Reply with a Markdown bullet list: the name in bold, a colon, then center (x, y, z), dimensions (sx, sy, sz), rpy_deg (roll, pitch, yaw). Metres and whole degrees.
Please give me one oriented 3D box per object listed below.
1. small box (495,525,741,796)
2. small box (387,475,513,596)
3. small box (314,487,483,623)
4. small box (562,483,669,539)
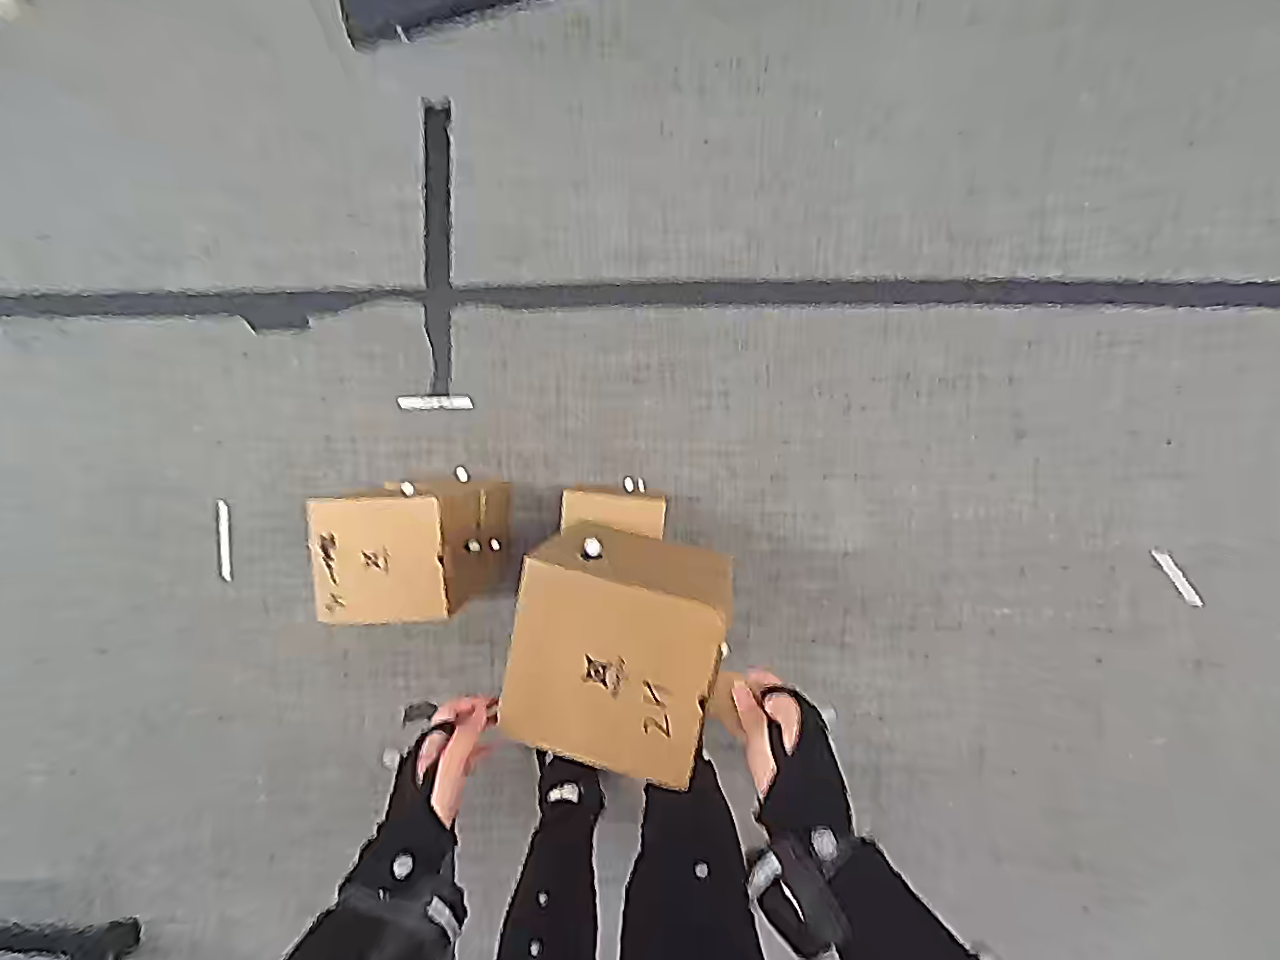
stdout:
- **small box**: center (-0.010, 0.150, 0.516), dimensions (0.179, 0.176, 0.168), rpy_deg (14, 99, 7)
- **small box**: center (-0.325, 0.089, 0.944), dimensions (0.168, 0.176, 0.179), rpy_deg (4, 94, 0)
- **small box**: center (-0.332, 0.098, 0.780), dimensions (0.179, 0.176, 0.168), rpy_deg (-1, 94, 0)
- **small box**: center (-0.043, 0.107, 0.944), dimensions (0.168, 0.176, 0.179), rpy_deg (7, 94, 0)
